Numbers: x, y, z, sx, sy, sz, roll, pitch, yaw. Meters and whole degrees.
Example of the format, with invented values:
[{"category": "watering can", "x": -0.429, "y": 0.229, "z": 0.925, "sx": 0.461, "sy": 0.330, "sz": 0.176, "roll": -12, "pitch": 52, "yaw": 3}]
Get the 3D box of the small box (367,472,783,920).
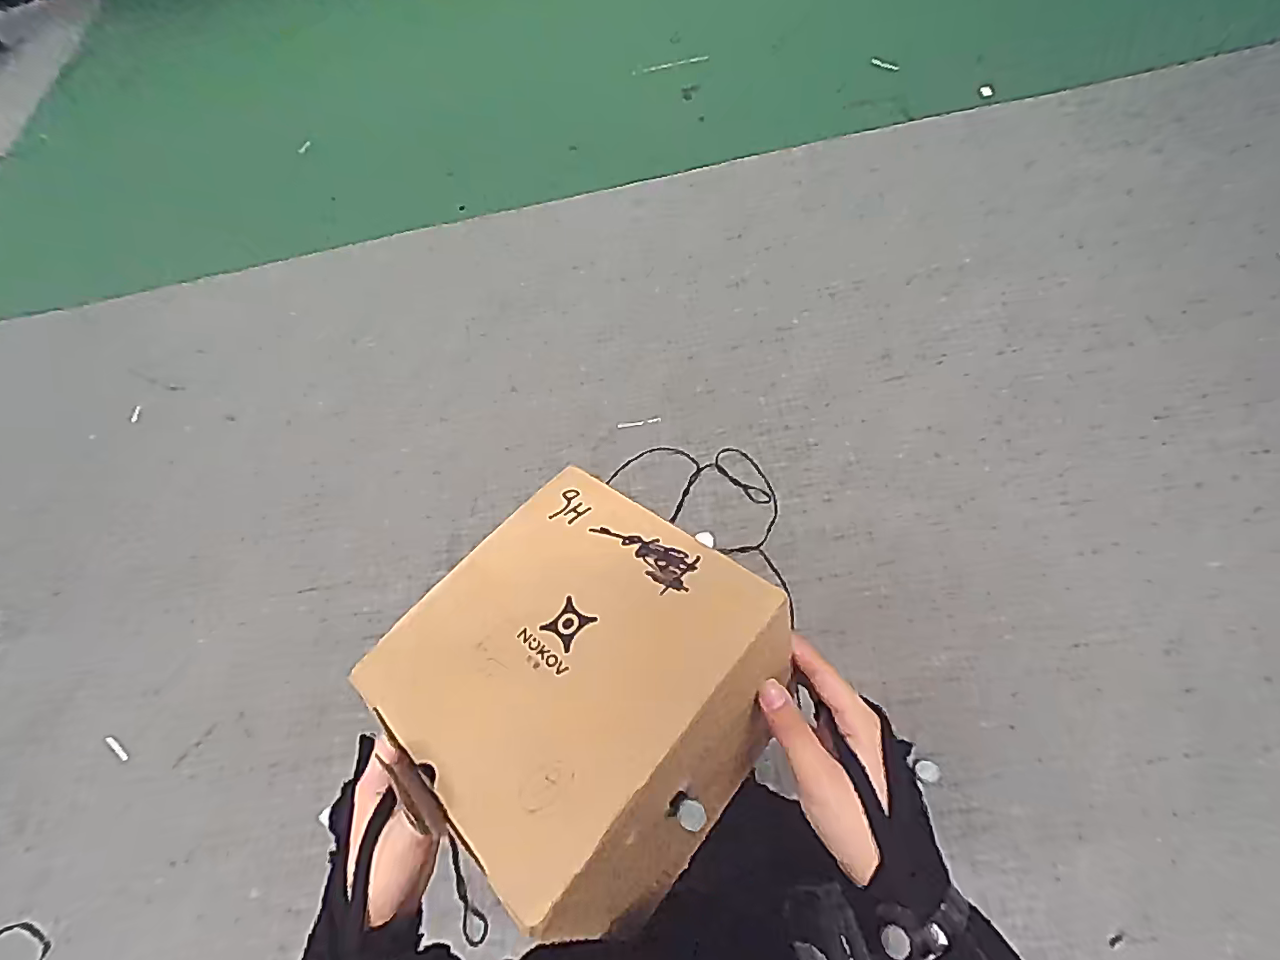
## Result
[{"category": "small box", "x": -0.021, "y": 0.134, "z": 0.345, "sx": 0.168, "sy": 0.176, "sz": 0.179, "roll": 29, "pitch": 65, "yaw": 35}]
